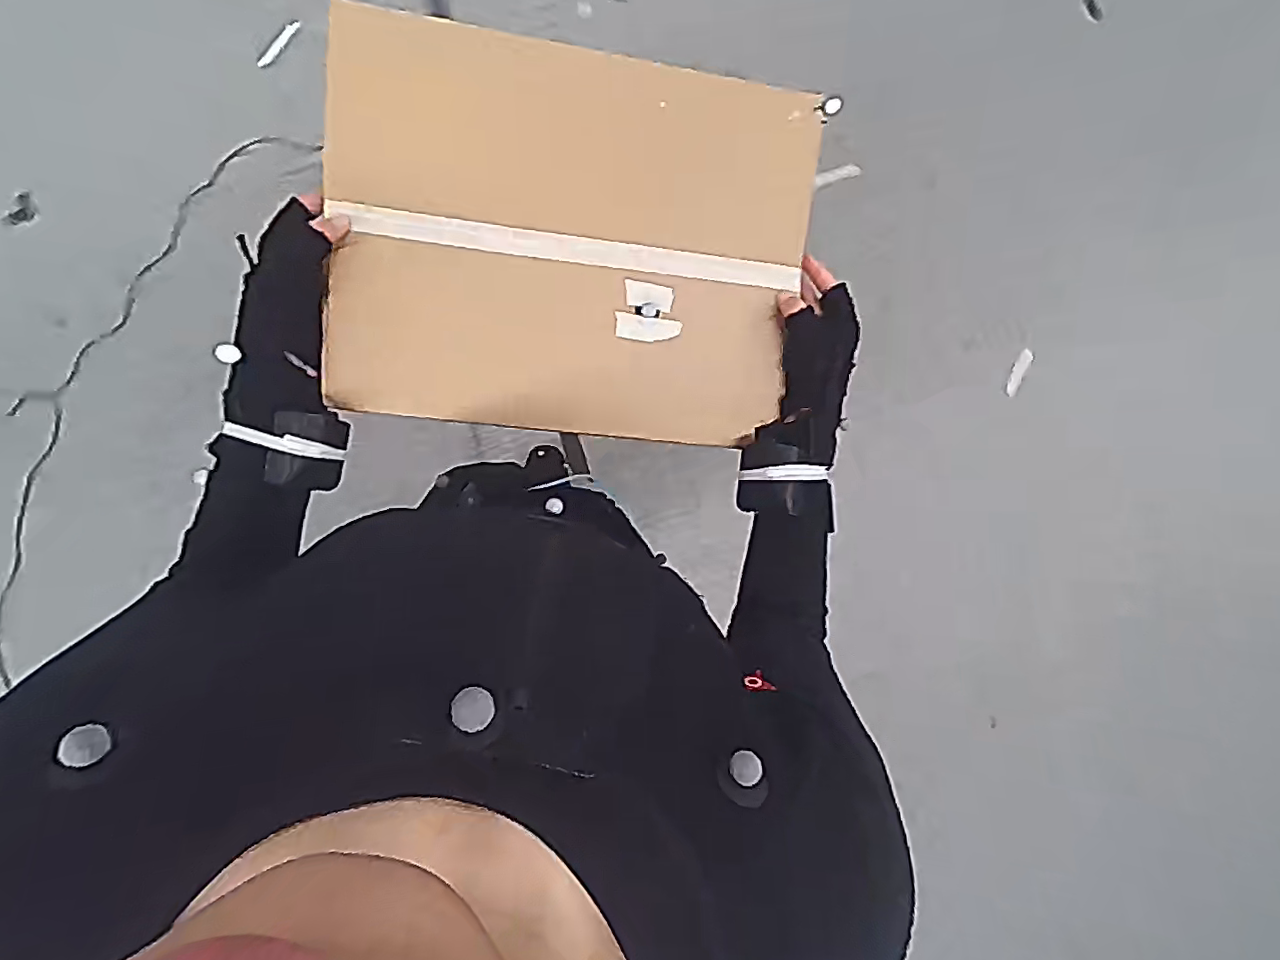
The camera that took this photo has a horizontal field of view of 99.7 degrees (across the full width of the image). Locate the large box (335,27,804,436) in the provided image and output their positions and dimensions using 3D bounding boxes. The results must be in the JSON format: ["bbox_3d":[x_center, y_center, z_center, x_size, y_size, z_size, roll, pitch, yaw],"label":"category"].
[{"bbox_3d":[-0.080,-0.226,0.625,0.408,0.320,0.320,3,100,-9],"label":"large box"}]
